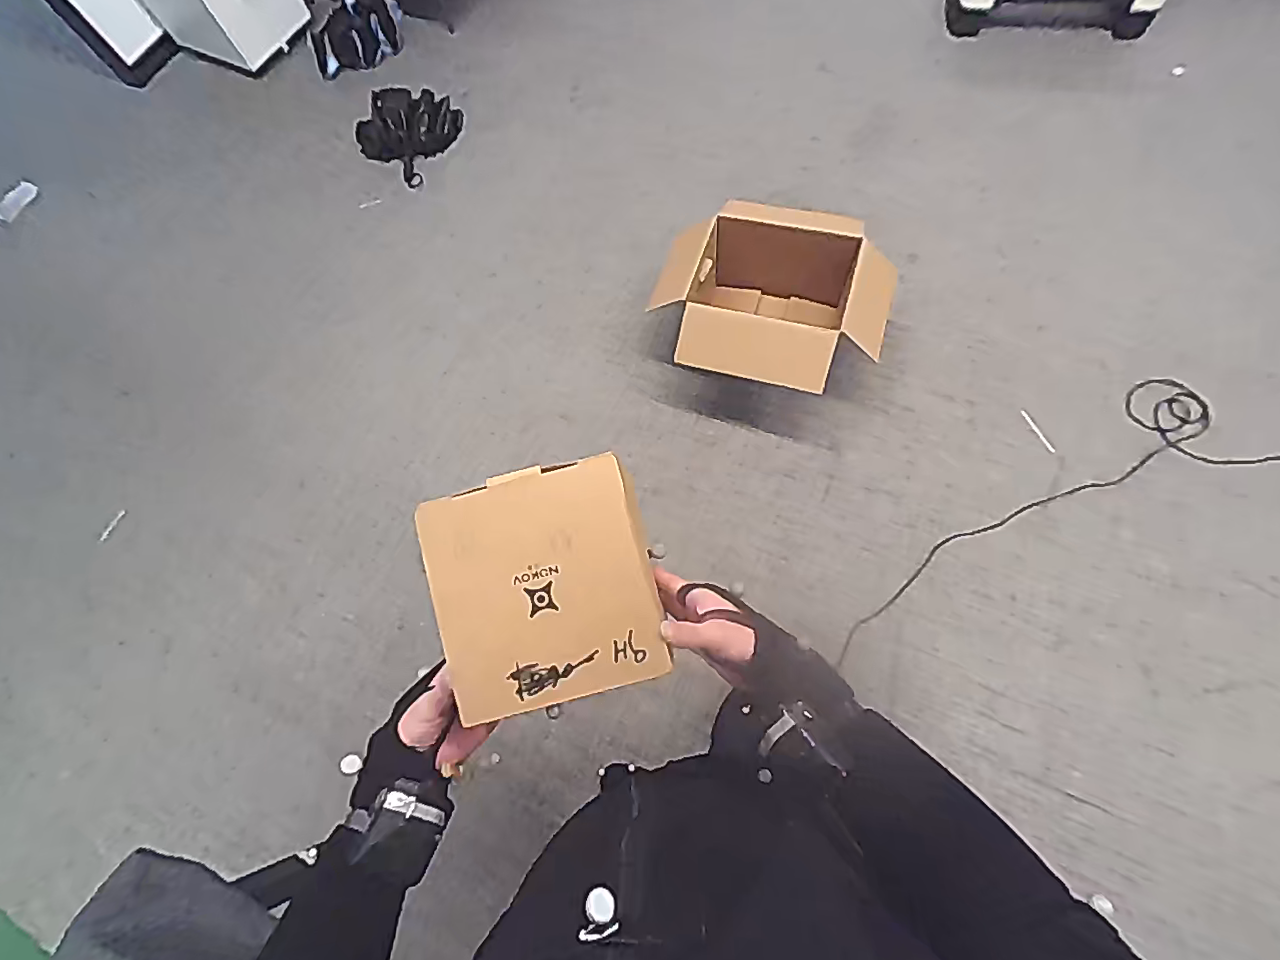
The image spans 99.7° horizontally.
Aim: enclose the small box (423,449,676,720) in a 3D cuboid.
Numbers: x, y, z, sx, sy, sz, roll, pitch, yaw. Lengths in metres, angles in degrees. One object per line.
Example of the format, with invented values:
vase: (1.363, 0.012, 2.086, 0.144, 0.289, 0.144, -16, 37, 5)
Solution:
small box: (-0.069, 0.088, 0.491, 0.168, 0.176, 0.179, -15, 83, 2)
